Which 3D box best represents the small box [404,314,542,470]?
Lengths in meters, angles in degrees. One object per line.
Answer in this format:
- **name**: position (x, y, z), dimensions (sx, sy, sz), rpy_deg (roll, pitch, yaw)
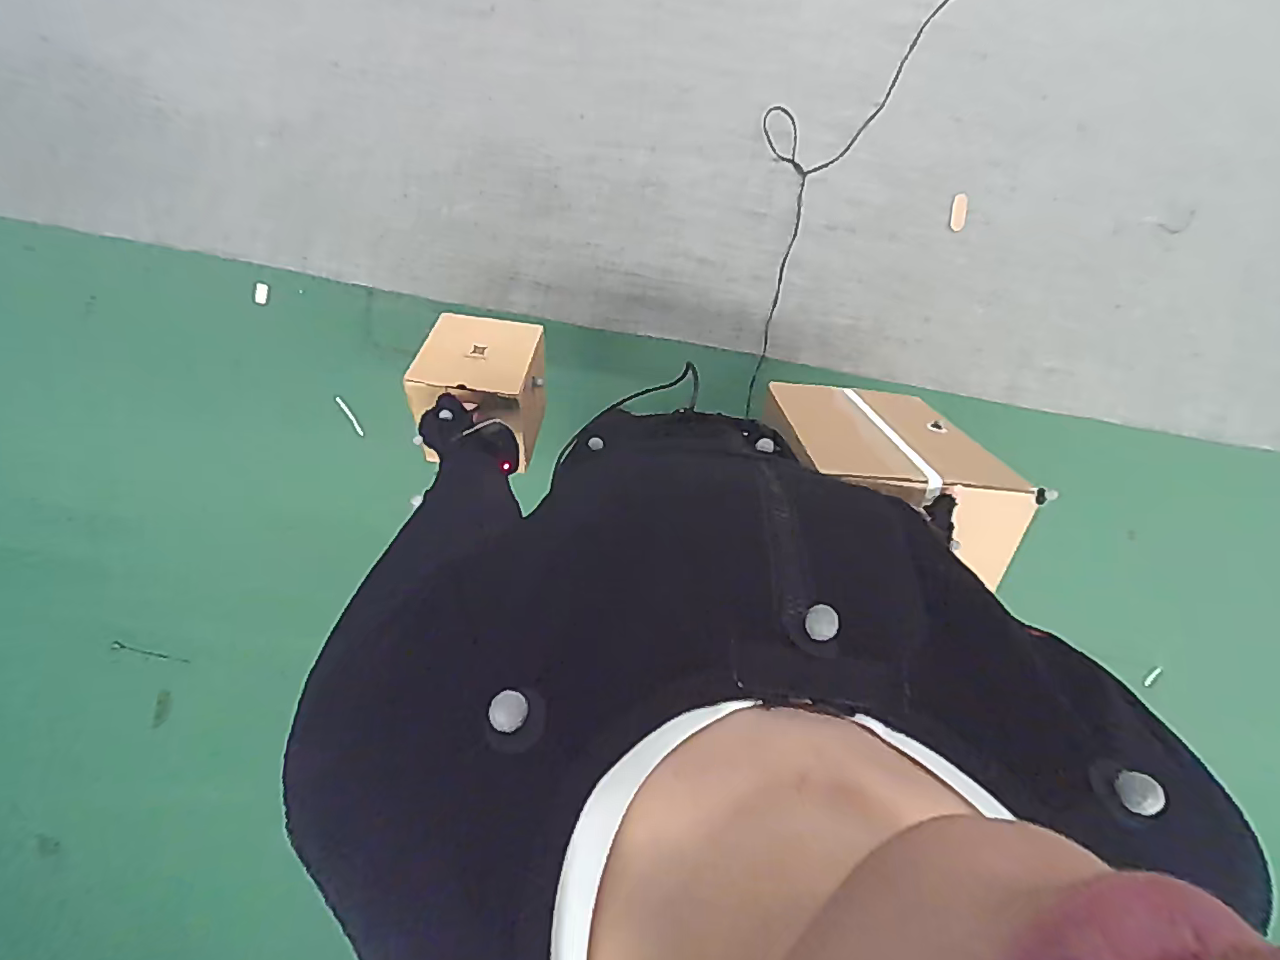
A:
- **small box**: position (-0.256, -0.141, 0.879), dimensions (0.168, 0.179, 0.176), rpy_deg (7, 140, -1)
